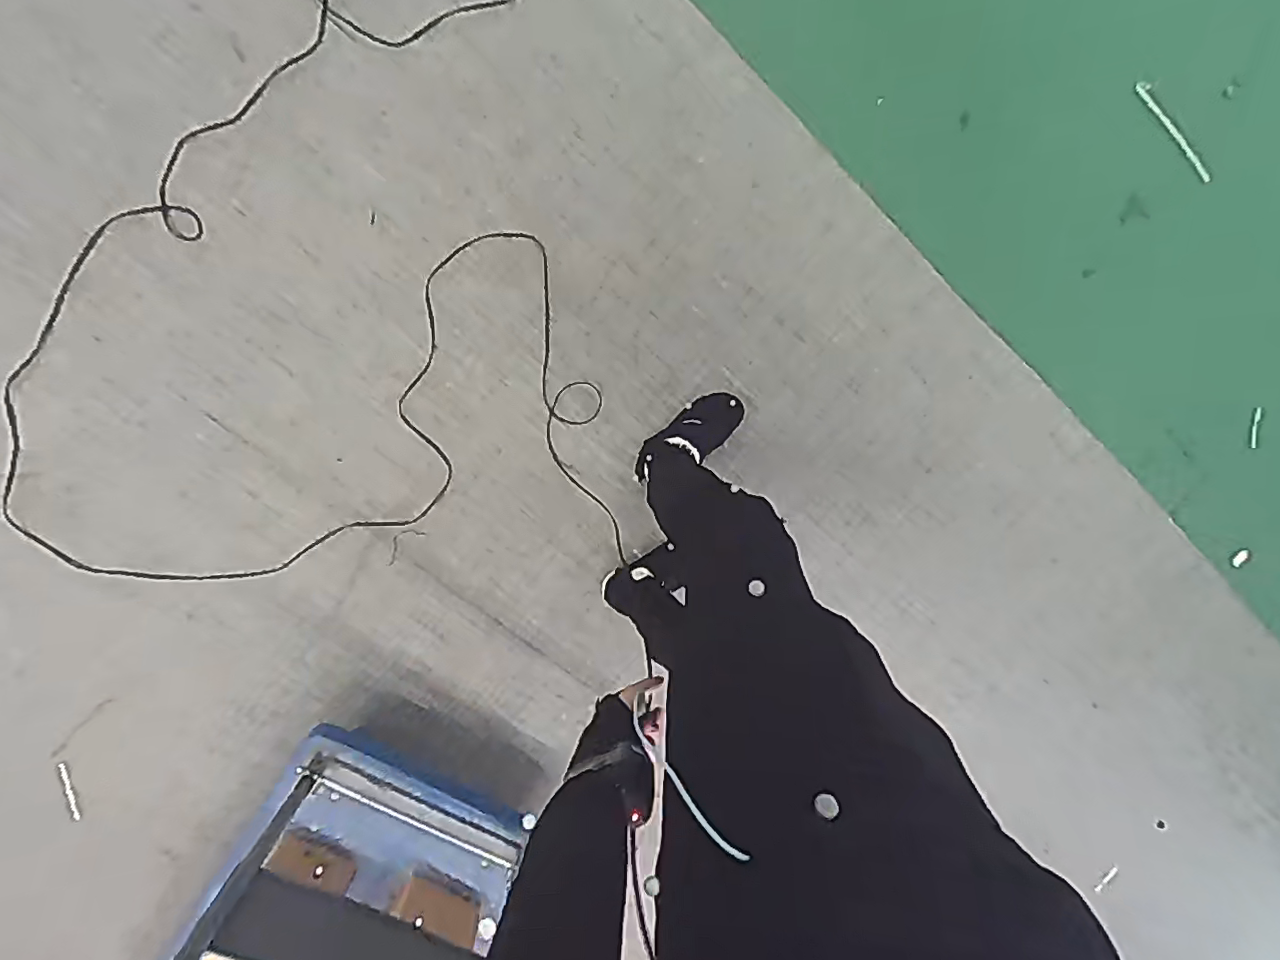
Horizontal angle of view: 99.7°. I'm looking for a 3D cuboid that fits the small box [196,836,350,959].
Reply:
[{"bbox_3d":[-0.696,0.844,1.037,0.168,0.176,0.179,36,91,-12],"label":"small box"}]
